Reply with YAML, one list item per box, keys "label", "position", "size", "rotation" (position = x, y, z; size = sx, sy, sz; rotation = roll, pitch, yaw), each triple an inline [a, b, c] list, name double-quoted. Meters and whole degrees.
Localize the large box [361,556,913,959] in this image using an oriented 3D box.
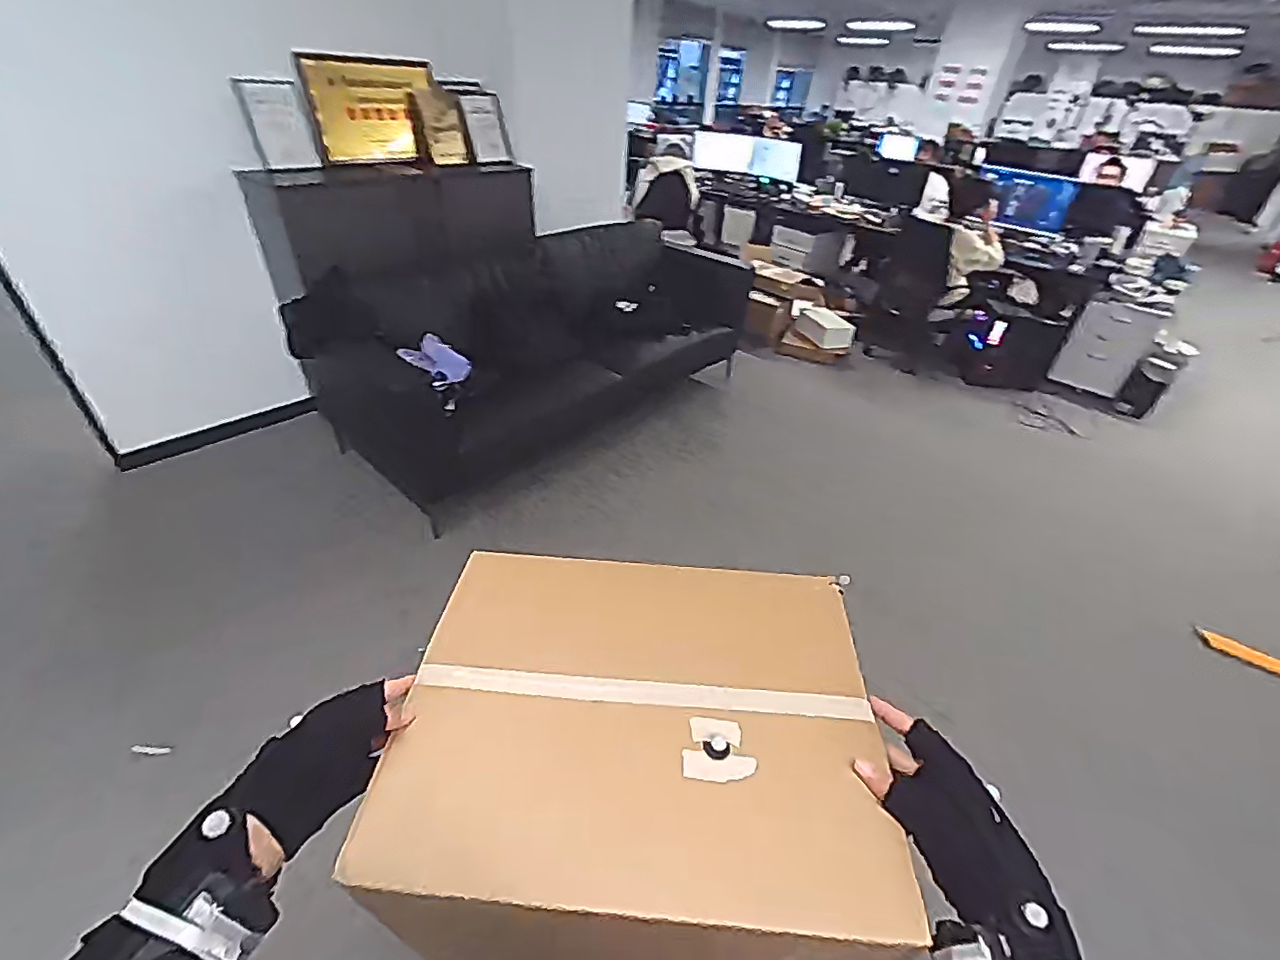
- label: "large box"
  position: [0.000, 0.307, 0.589]
  size: [0.408, 0.320, 0.320]
  rotation: [3, 40, 3]
